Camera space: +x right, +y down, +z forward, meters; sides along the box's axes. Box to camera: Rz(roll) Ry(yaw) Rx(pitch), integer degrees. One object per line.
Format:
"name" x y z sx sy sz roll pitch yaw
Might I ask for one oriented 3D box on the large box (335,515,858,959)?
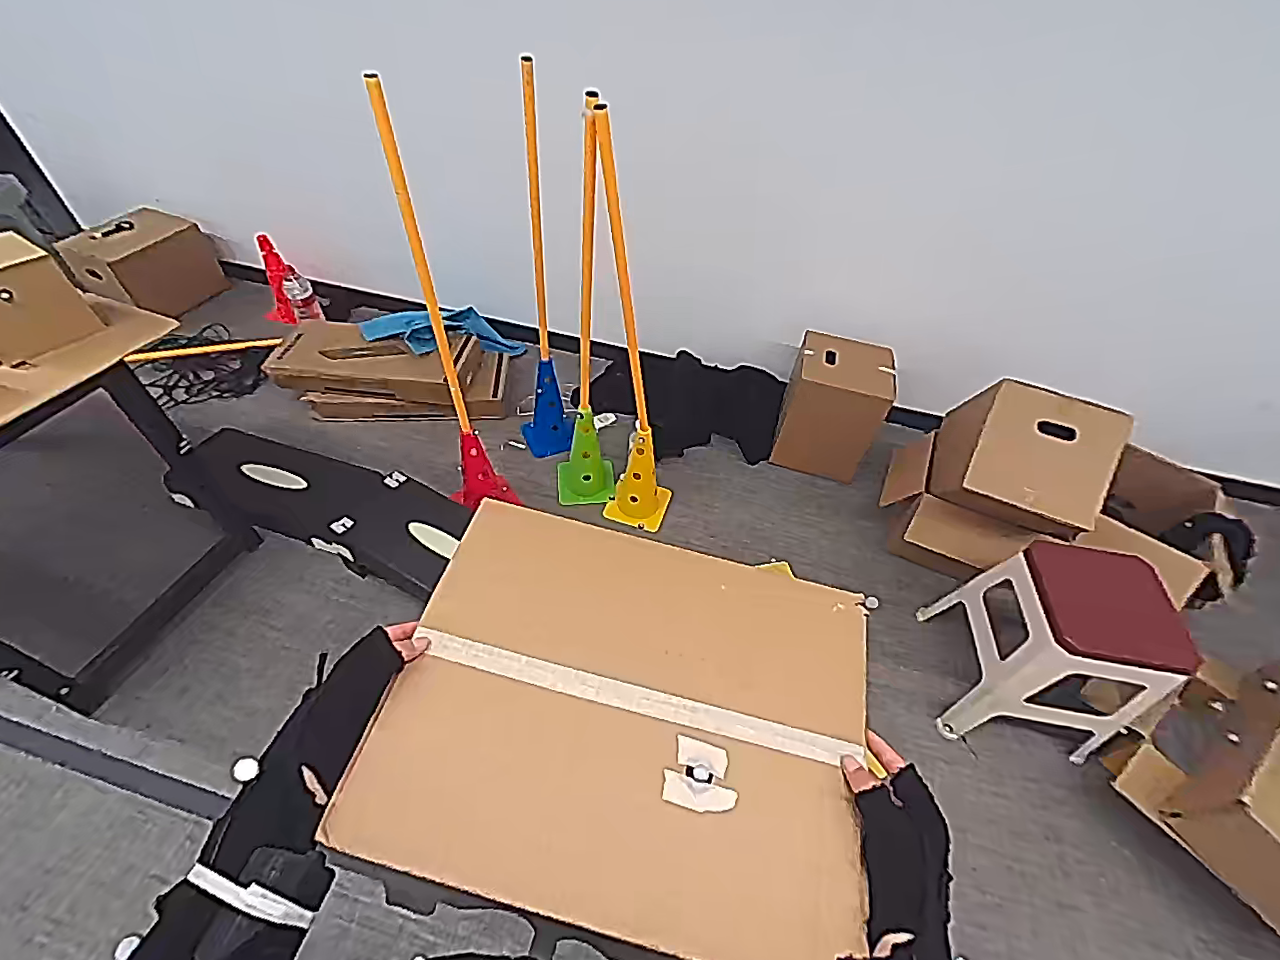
"large box" -0.022 0.287 0.598 0.408 0.320 0.320 15 54 3
